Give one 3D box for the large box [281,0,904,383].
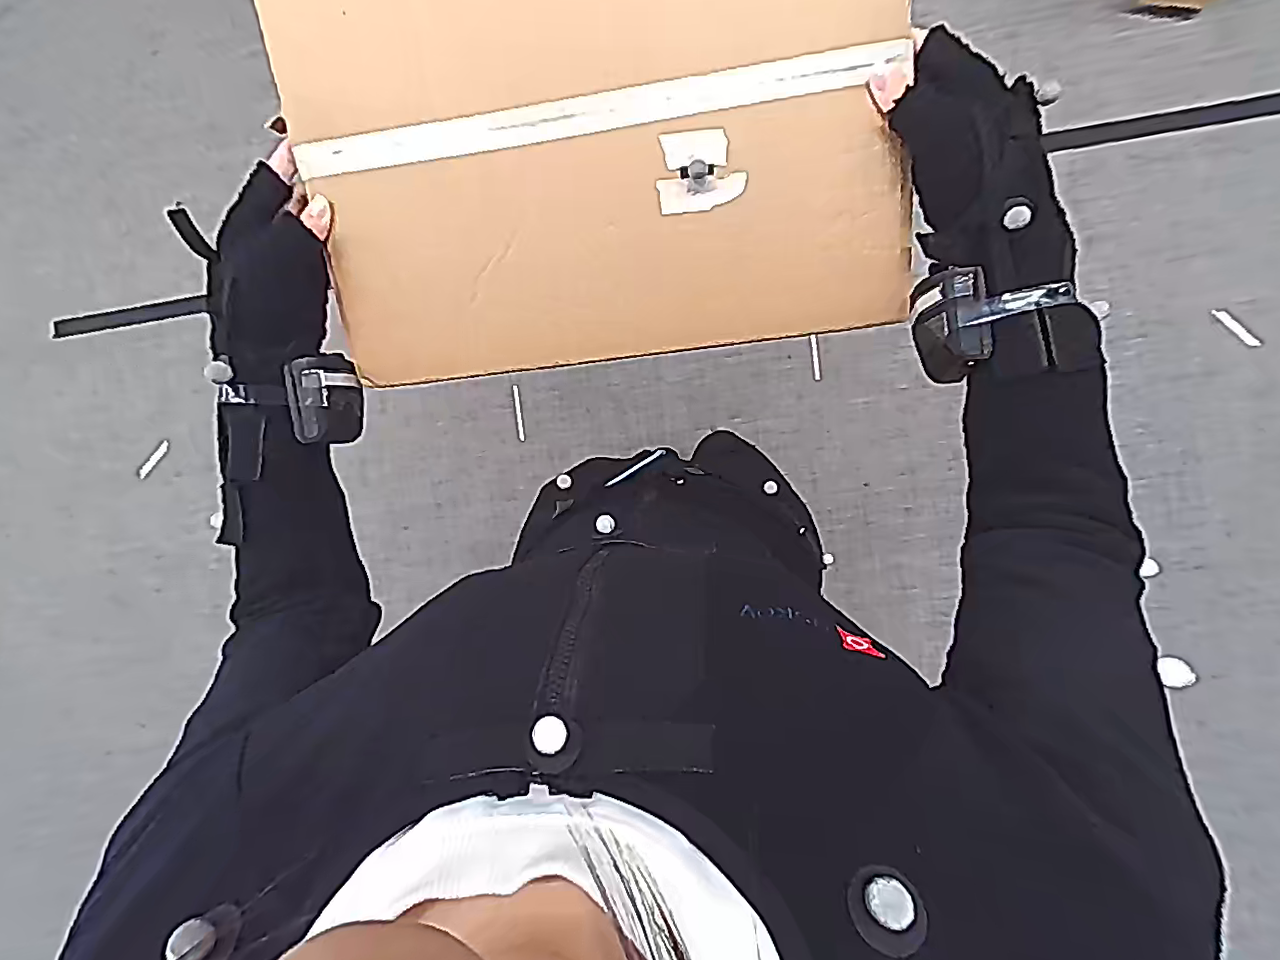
[{"bbox_3d":[-0.022,-0.287,0.509,0.408,0.320,0.320,-7,107,5],"label":"large box"}]
